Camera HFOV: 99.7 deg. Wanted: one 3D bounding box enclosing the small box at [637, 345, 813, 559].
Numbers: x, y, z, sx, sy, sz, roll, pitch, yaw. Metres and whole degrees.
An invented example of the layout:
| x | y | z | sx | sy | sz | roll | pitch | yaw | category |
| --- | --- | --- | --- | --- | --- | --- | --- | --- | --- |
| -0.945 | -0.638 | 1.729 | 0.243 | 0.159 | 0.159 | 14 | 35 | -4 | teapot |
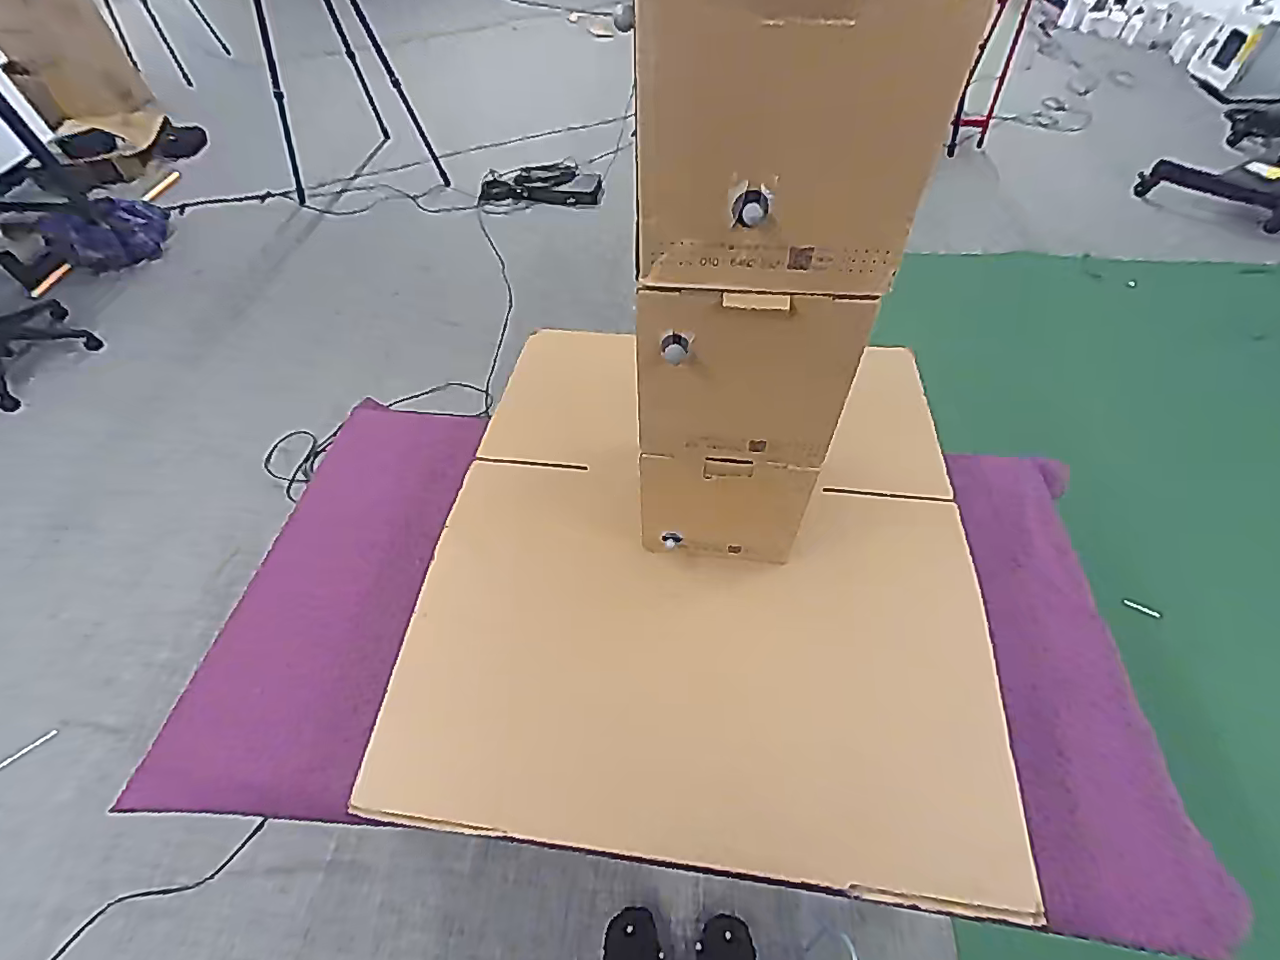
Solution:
| x | y | z | sx | sy | sz | roll | pitch | yaw | category |
| --- | --- | --- | --- | --- | --- | --- | --- | --- | --- |
| 0.091 | -0.028 | 0.610 | 0.168 | 0.176 | 0.179 | 5 | 51 | 5 | small box |

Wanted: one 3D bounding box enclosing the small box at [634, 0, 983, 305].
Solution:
| x | y | z | sx | sy | sz | roll | pitch | yaw | category |
| --- | --- | --- | --- | --- | --- | --- | --- | --- | --- |
| 0.085 | -0.241 | 0.362 | 0.168 | 0.176 | 0.179 | 4 | 51 | 4 | small box |
